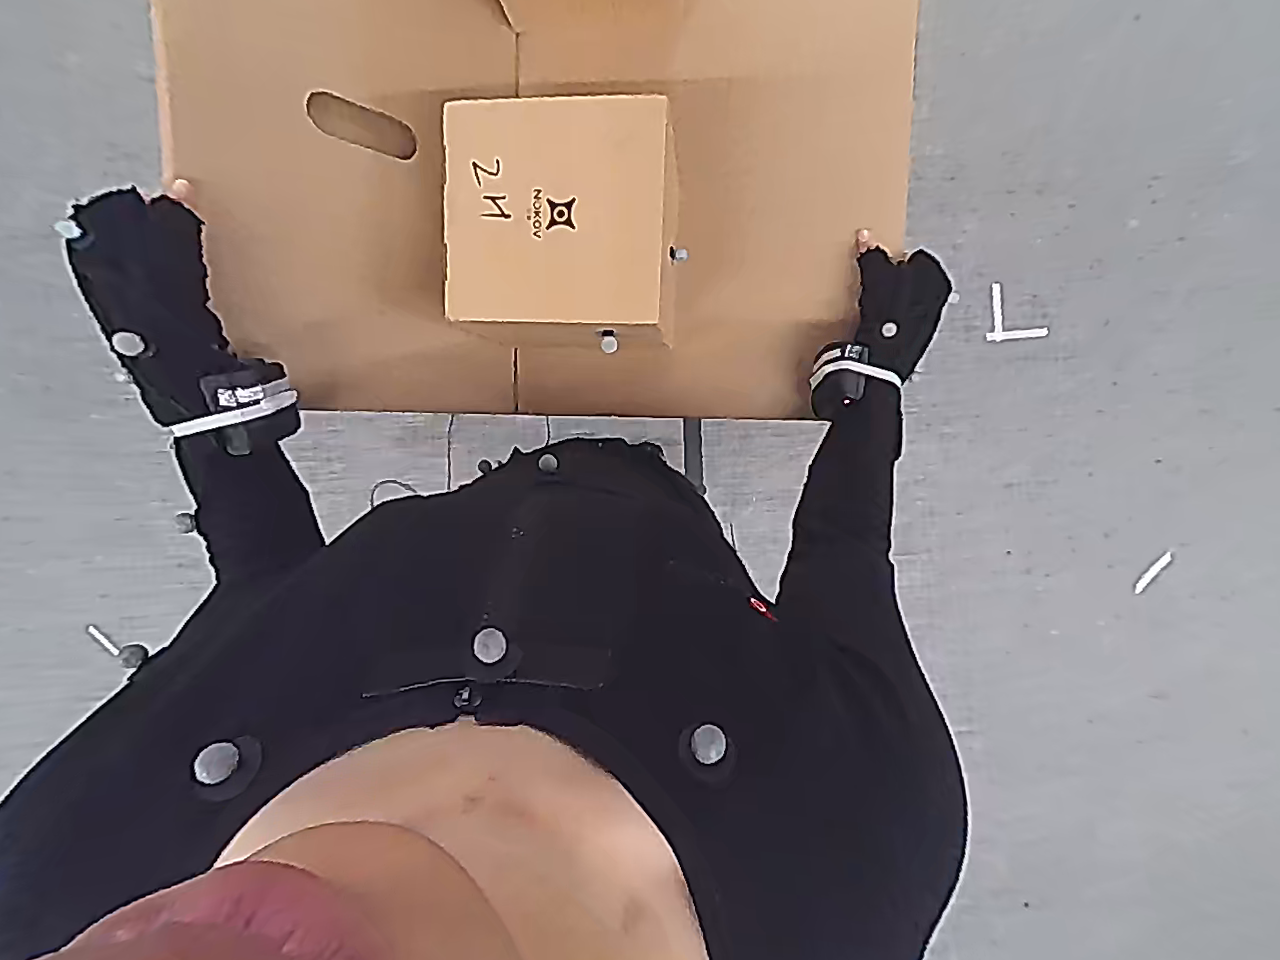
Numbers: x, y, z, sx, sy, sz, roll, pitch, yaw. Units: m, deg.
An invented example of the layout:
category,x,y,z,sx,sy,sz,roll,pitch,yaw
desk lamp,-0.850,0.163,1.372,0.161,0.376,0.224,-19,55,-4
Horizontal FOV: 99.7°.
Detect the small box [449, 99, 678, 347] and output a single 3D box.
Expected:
category,x,y,z,sx,sy,sz,roll,pitch,yaw
small box,-0.058,-0.220,0.504,0.179,0.176,0.168,3,96,7
